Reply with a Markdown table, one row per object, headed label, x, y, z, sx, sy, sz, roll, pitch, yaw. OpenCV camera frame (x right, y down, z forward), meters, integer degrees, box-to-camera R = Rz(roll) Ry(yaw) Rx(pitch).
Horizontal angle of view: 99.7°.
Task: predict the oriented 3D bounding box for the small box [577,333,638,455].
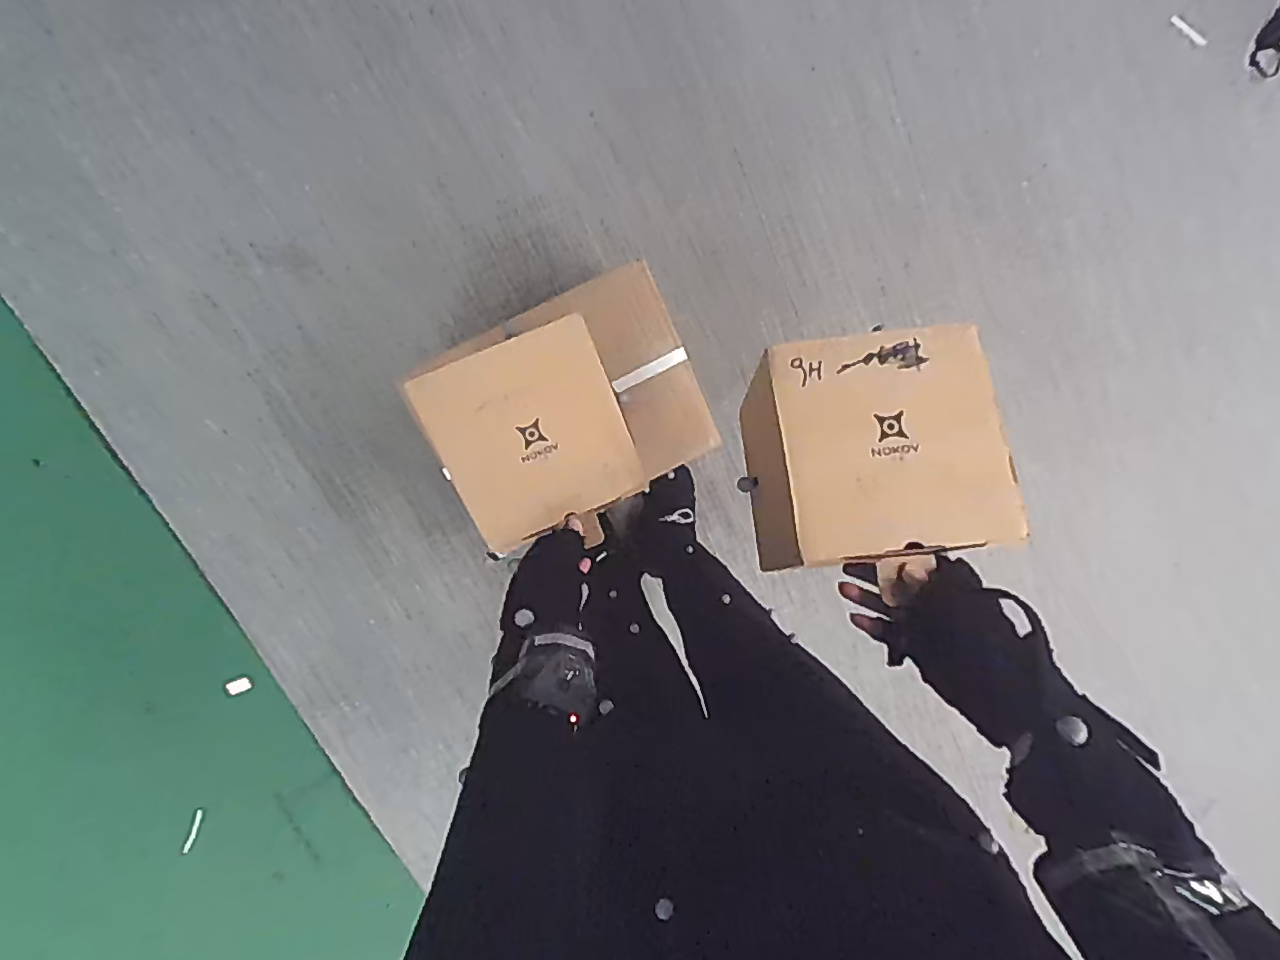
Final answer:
| label | x | y | z | sx | sy | sz | roll | pitch | yaw |
| --- | --- | --- | --- | --- | --- | --- | --- | --- | --- |
| small box | -0.125 | -0.090 | 0.728 | 0.179 | 0.176 | 0.168 | -28 | 109 | -1 |

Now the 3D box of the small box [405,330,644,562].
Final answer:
| label | x | y | z | sx | sy | sz | roll | pitch | yaw |
| --- | --- | --- | --- | --- | --- | --- | --- | --- | --- |
| small box | -0.111 | -0.048 | 0.572 | 0.168 | 0.176 | 0.179 | -24 | 107 | -2 |

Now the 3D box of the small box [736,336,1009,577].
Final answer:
| label | x | y | z | sx | sy | sz | roll | pitch | yaw |
| --- | --- | --- | --- | --- | --- | --- | --- | --- | --- |
| small box | 0.187 | -0.008 | 0.493 | 0.168 | 0.176 | 0.179 | -6 | 80 | 1 |
